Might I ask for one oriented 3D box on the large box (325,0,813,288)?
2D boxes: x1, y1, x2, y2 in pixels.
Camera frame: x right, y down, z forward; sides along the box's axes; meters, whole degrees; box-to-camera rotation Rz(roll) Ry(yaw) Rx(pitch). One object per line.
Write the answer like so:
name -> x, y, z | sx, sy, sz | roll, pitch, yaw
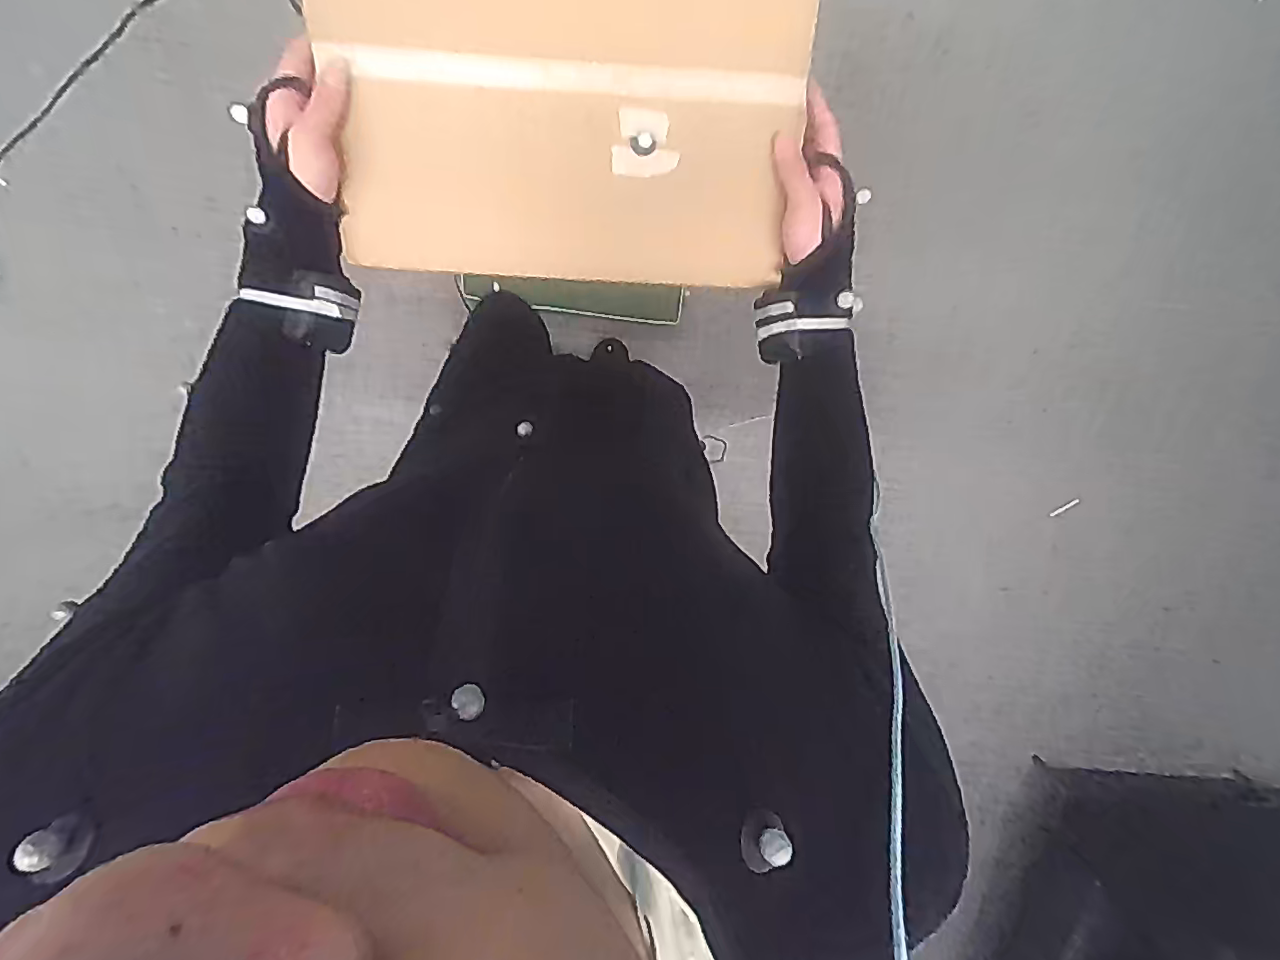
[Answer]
large box -> -0.066, -0.388, 0.599 | 0.408, 0.320, 0.320 | 2, 113, -4
